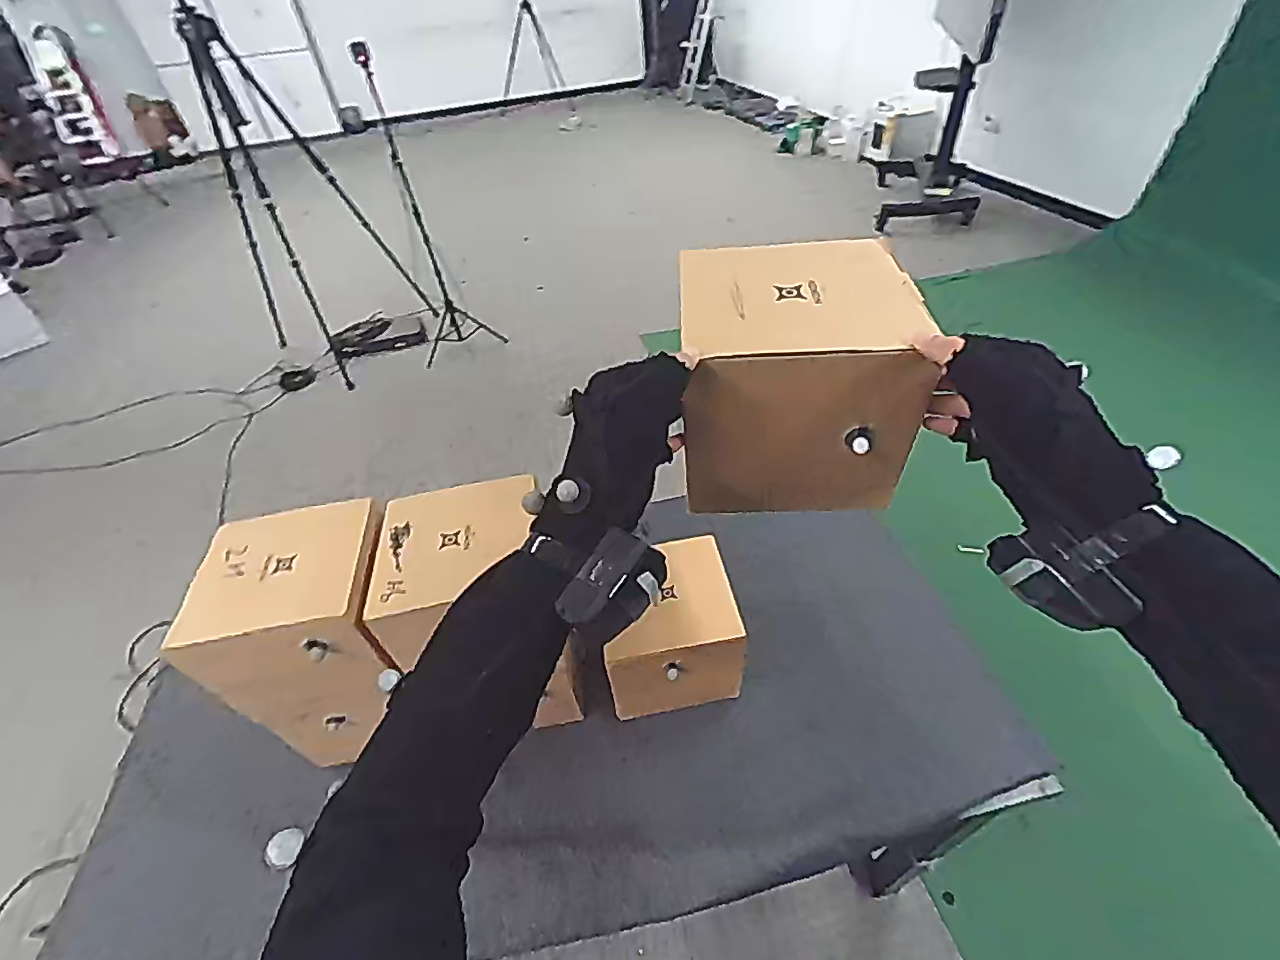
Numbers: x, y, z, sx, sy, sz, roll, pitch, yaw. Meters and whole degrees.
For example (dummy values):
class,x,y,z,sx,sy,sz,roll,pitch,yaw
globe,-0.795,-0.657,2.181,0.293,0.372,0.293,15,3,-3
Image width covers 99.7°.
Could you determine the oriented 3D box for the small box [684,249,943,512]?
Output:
class,x,y,z,sx,sy,sz,roll,pitch,yaw
small box,0.128,-0.084,0.480,0.179,0.176,0.168,-1,46,5
